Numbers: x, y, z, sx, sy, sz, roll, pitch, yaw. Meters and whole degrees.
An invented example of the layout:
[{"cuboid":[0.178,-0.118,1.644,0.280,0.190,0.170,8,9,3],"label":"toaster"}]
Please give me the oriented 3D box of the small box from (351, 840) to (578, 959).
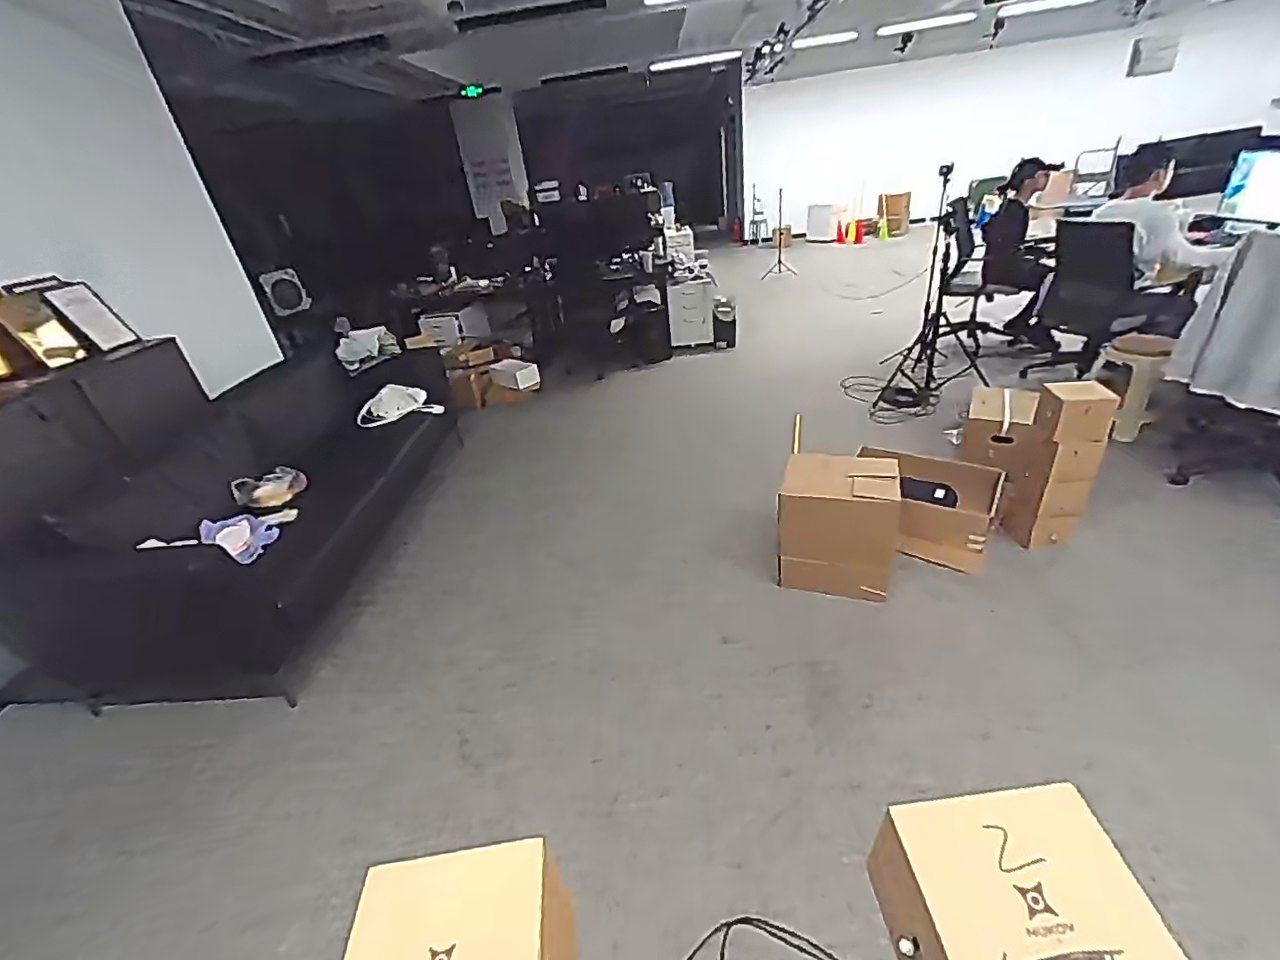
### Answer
[{"cuboid":[-0.148,0.461,0.477,0.168,0.176,0.179,-8,33,-2],"label":"small box"}]
